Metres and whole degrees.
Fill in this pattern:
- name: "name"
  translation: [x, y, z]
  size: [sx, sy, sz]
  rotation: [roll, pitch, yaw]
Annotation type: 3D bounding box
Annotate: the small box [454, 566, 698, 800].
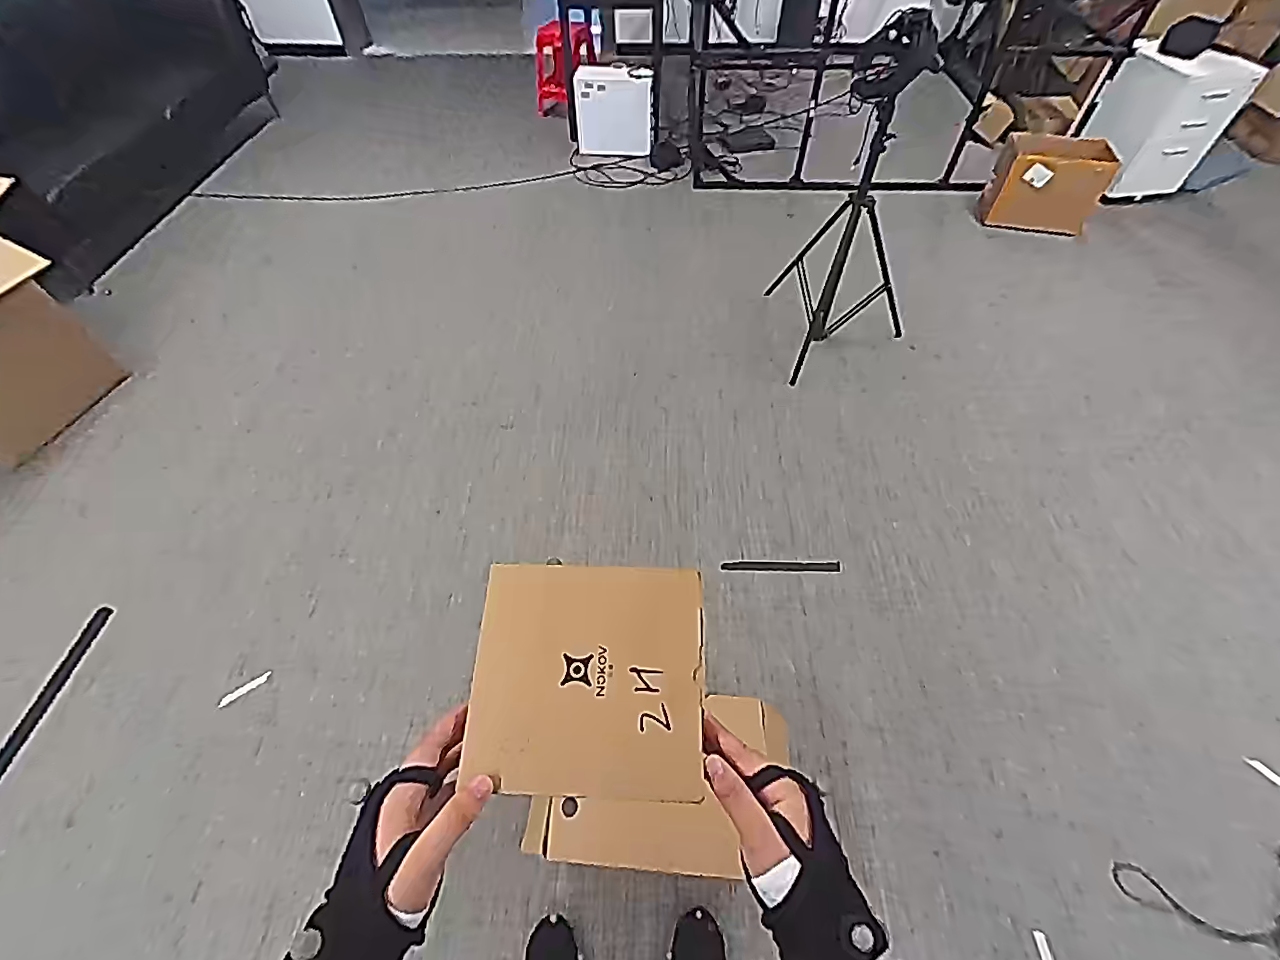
- name: "small box"
  translation: [-0.041, 0.182, 0.484]
  size: [0.179, 0.176, 0.168]
  rotation: [2, 65, 1]
